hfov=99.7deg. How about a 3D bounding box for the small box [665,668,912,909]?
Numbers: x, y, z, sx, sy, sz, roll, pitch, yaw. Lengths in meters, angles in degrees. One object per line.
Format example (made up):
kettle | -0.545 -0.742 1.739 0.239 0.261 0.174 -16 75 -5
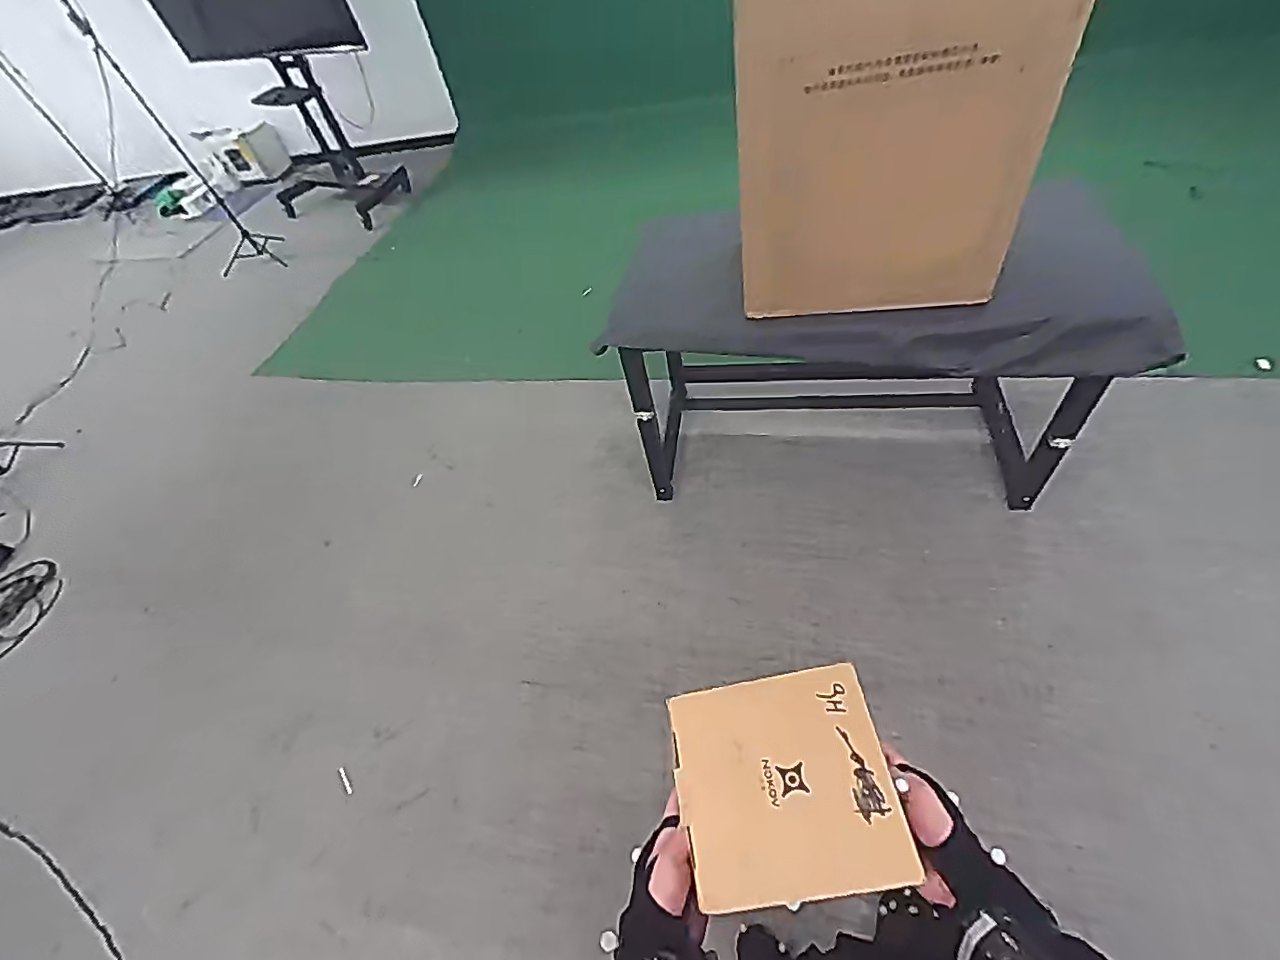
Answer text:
small box | 0.134 0.296 0.526 0.179 0.176 0.168 -13 58 8
